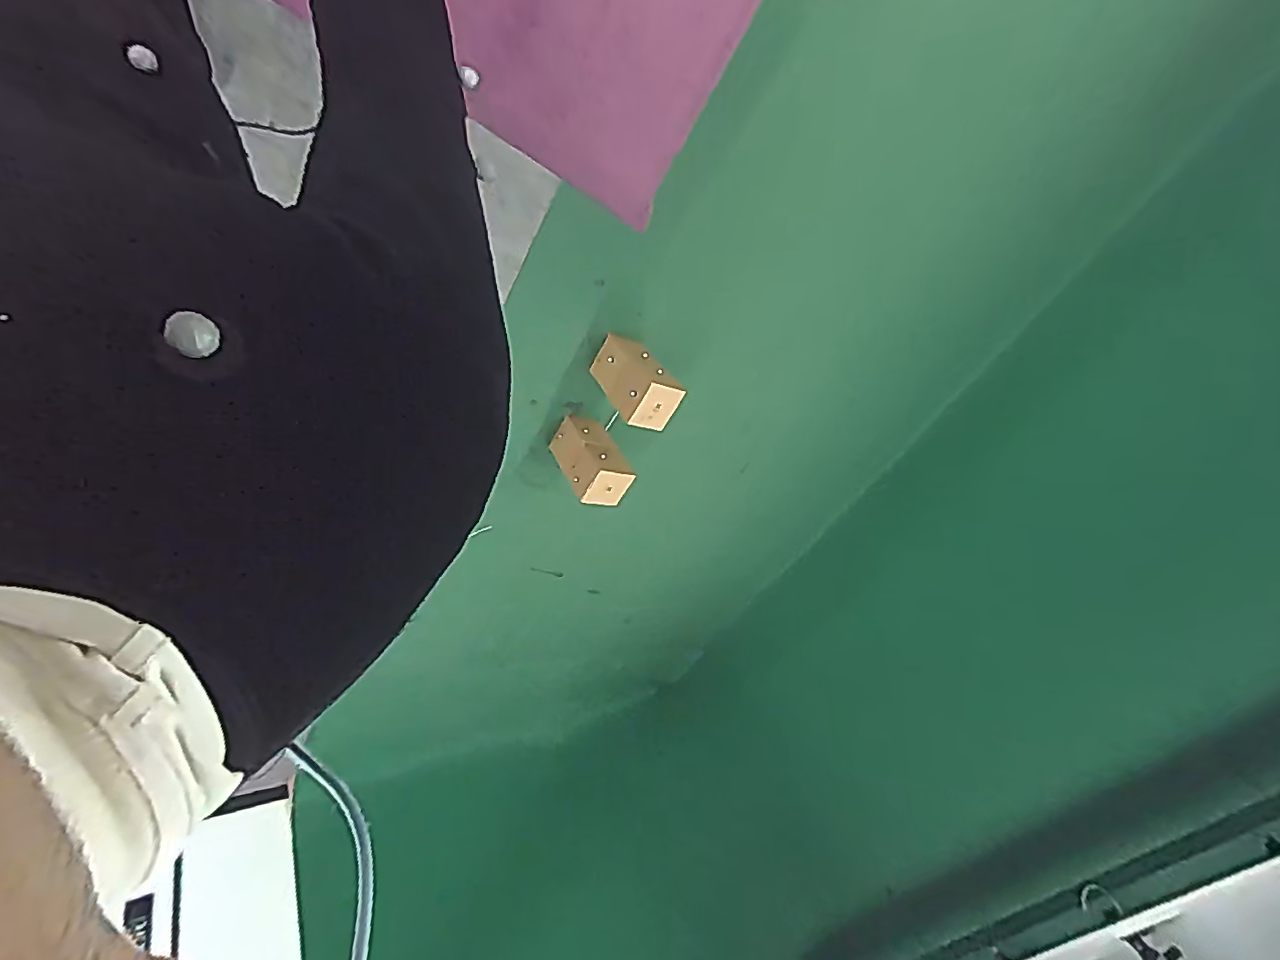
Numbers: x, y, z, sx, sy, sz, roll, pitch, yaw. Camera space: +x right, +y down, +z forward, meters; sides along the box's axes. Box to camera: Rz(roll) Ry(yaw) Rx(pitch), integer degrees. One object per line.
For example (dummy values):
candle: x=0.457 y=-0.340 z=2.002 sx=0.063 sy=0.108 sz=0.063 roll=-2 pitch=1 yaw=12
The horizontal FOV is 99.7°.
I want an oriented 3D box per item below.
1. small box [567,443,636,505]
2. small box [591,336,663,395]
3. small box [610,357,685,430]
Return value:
small box: x=-0.155 y=-0.023 z=2.077 sx=0.179 sy=0.176 sz=0.168 roll=8 pitch=128 yaw=-42
small box: x=-0.054 y=-0.411 z=1.994 sx=0.179 sy=0.176 sz=0.168 roll=6 pitch=128 yaw=-43
small box: x=0.019 y=-0.303 z=1.894 sx=0.168 sy=0.176 sz=0.179 roll=7 pitch=128 yaw=-42
